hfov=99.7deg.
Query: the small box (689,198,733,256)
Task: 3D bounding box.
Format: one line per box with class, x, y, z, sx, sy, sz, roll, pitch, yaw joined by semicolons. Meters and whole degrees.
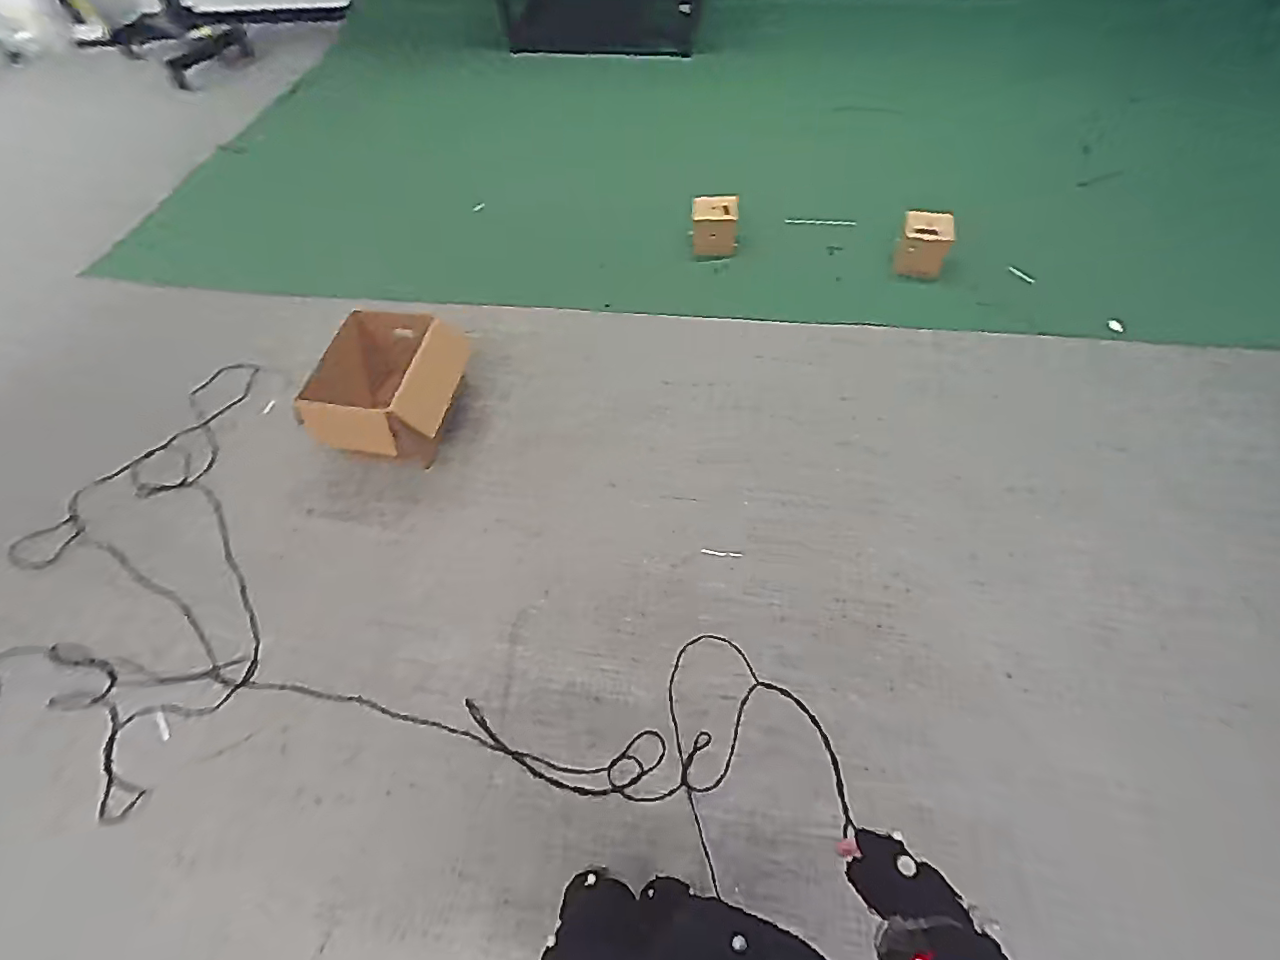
small box;0.299;-1.064;2.282;0.179;0.176;0.168;2;58;7
